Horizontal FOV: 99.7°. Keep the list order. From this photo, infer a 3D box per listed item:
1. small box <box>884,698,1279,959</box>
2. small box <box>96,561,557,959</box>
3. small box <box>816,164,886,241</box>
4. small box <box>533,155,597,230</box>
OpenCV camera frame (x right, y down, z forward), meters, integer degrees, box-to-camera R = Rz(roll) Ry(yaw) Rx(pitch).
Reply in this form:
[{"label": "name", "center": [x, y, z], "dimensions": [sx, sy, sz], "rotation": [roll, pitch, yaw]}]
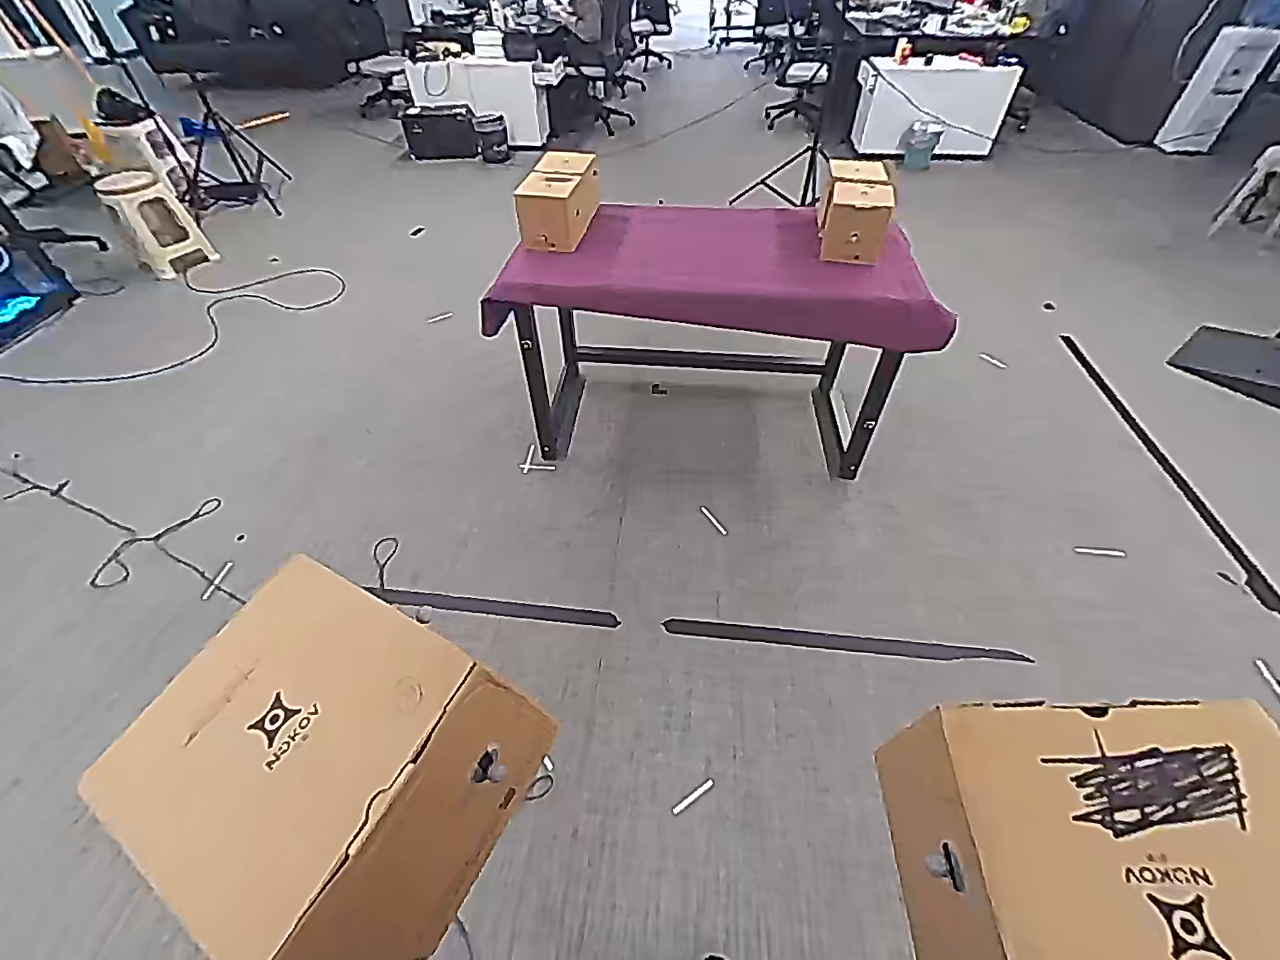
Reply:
[{"label": "small box", "center": [0.261, 0.240, 0.318], "dimensions": [0.168, 0.176, 0.179], "rotation": [-4, 55, 7]}, {"label": "small box", "center": [-0.183, 0.188, 0.371], "dimensions": [0.179, 0.176, 0.168], "rotation": [18, 59, 24]}, {"label": "small box", "center": [0.670, -0.895, 1.741], "dimensions": [0.168, 0.176, 0.179], "rotation": [7, 47, 6]}, {"label": "small box", "center": [-0.244, -0.963, 1.811], "dimensions": [0.168, 0.176, 0.179], "rotation": [7, 49, 7]}]
